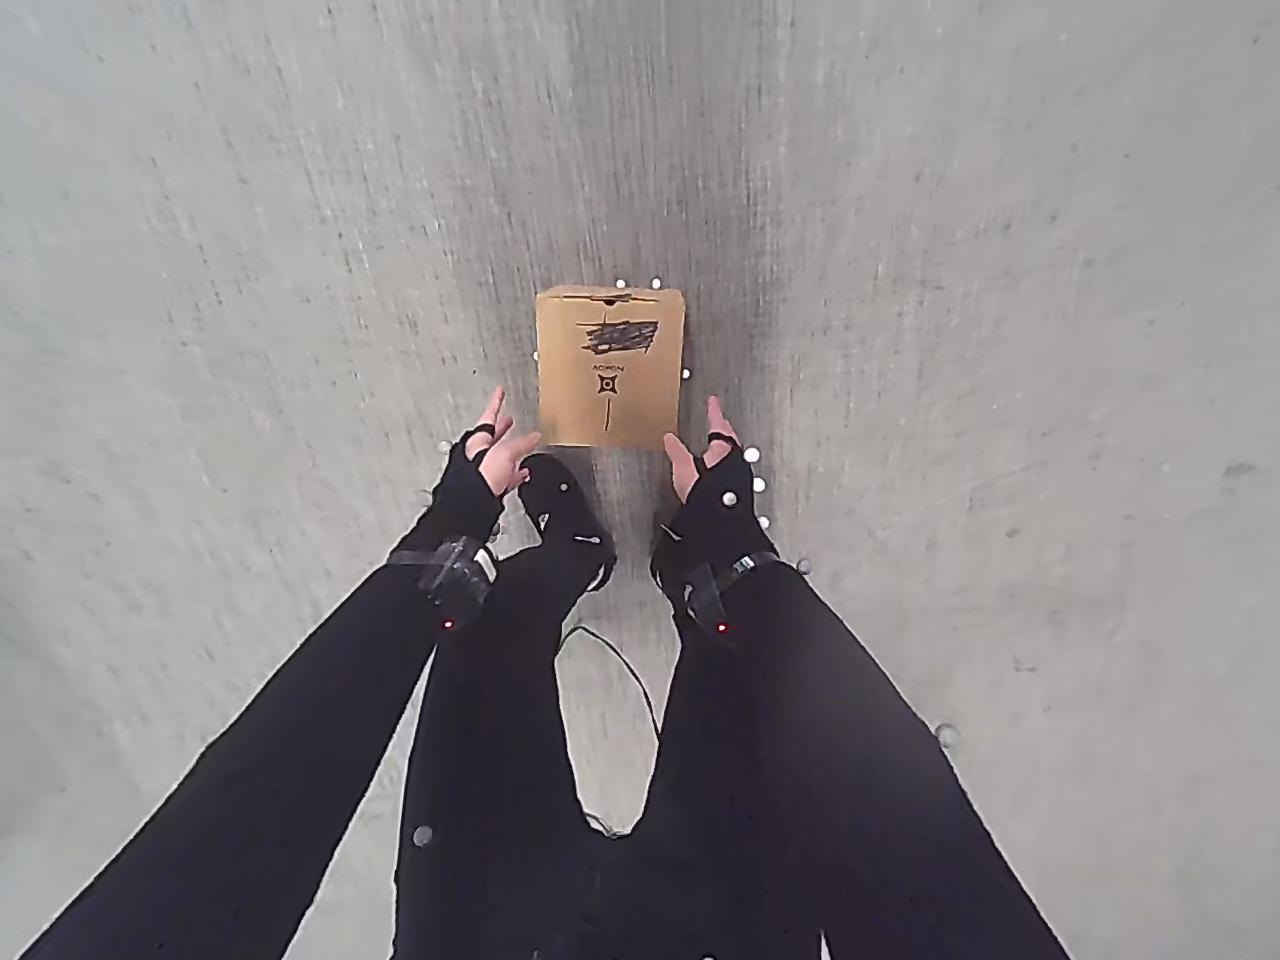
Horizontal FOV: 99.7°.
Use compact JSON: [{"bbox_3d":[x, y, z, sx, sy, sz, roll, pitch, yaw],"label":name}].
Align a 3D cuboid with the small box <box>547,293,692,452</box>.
[{"bbox_3d":[-0.025,-0.147,0.707,0.168,0.176,0.179,3,112,1],"label":"small box"}]
